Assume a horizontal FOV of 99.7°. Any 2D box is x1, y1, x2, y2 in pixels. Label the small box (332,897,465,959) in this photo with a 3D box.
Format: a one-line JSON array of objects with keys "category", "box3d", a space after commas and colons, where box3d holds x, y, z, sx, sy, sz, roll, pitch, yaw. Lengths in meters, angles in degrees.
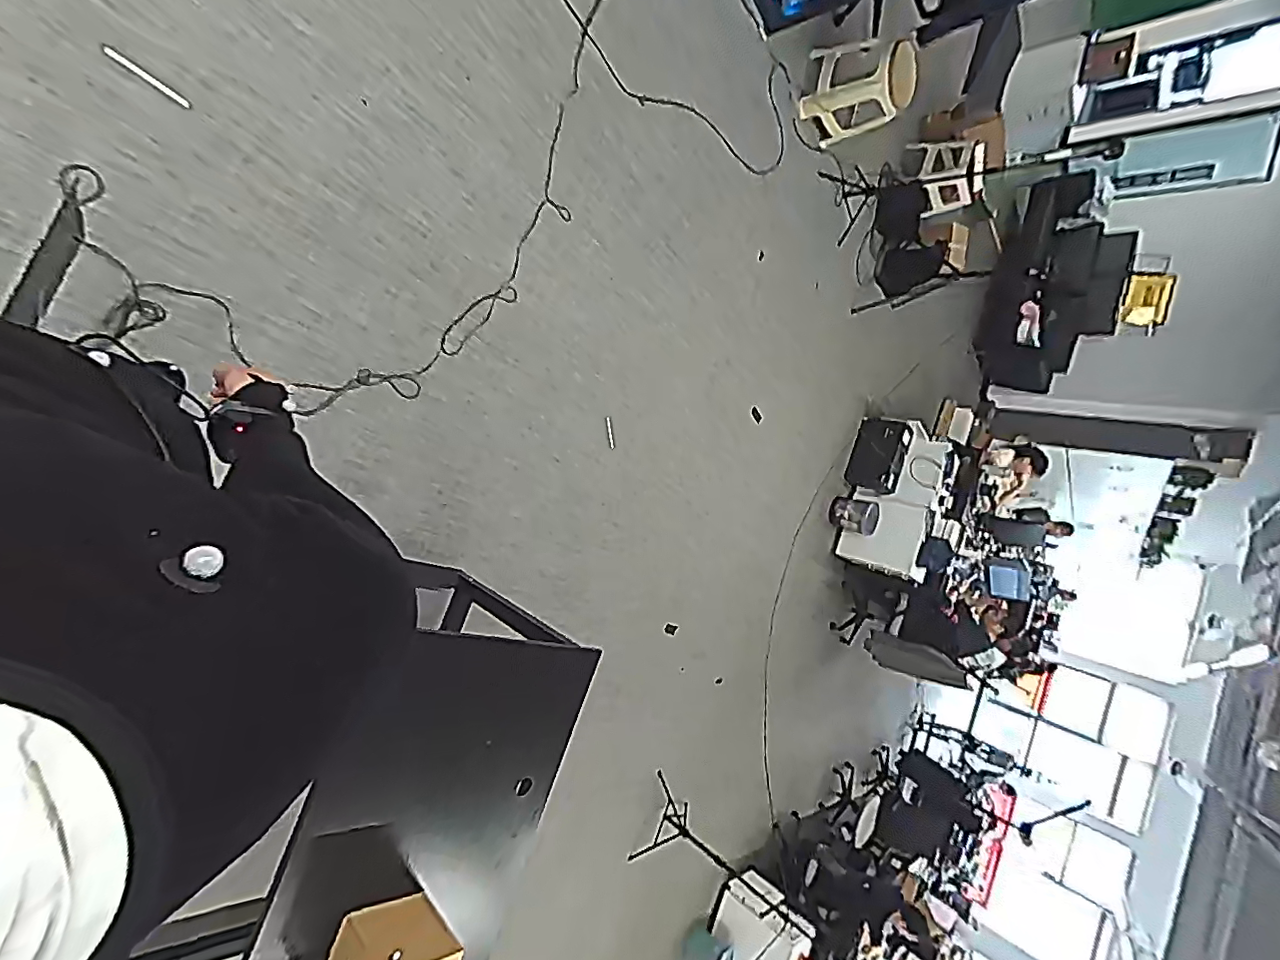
[{"category": "small box", "box3d": [-0.477, 0.954, 1.039, 0.179, 0.176, 0.168, 25, 82, -47]}]
